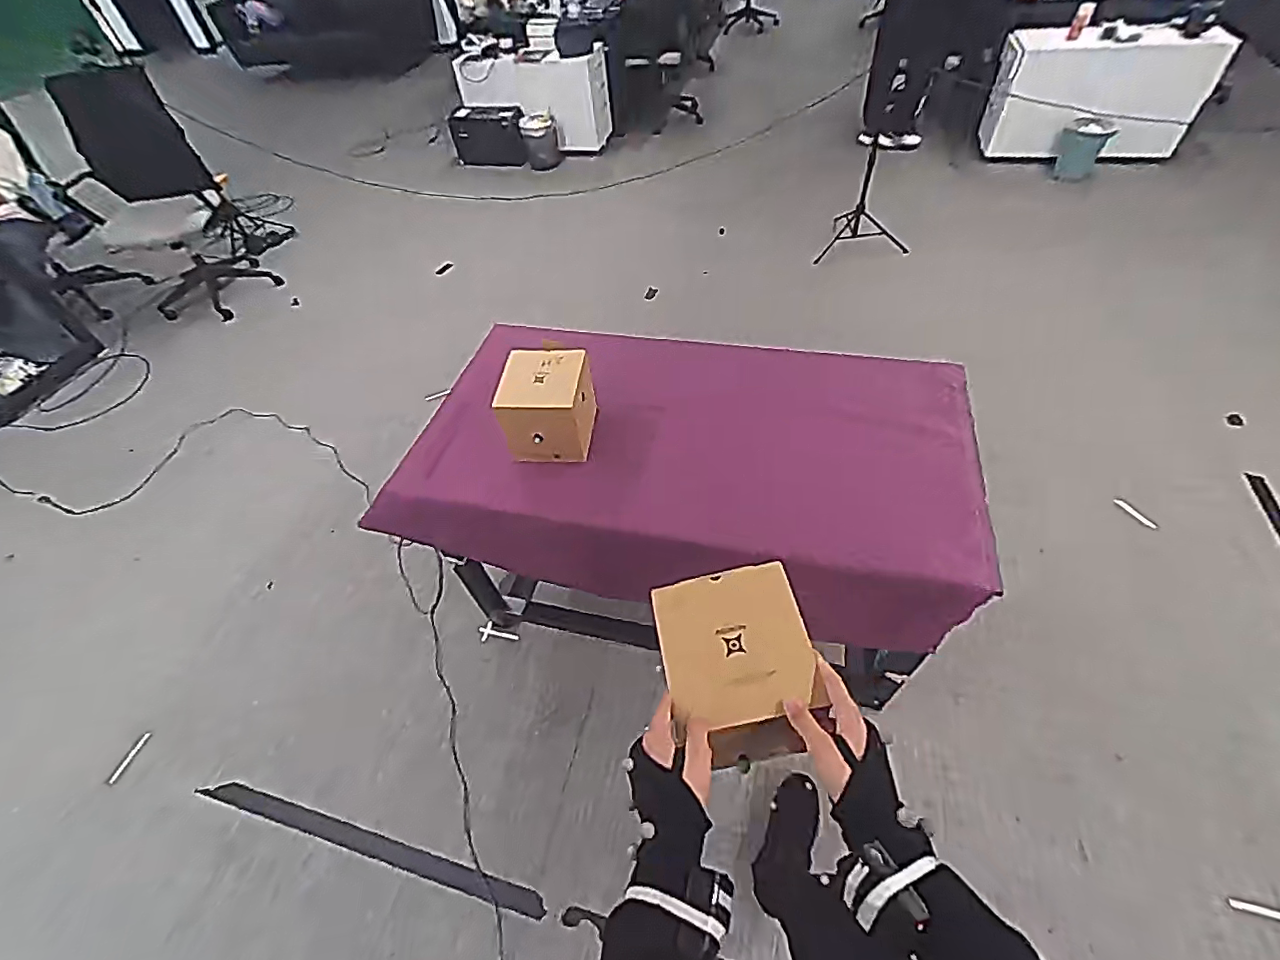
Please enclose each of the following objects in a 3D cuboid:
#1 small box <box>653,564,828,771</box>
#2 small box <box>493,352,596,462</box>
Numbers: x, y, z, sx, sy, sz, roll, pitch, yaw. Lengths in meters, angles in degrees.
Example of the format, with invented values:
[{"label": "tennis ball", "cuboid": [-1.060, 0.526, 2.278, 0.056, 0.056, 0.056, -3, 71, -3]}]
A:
[{"label": "small box", "cuboid": [0.117, 0.234, 0.672, 0.168, 0.176, 0.179, -13, 48, 3]}, {"label": "small box", "cuboid": [-0.194, -0.155, 1.165, 0.168, 0.176, 0.179, 2, 51, 7]}]
